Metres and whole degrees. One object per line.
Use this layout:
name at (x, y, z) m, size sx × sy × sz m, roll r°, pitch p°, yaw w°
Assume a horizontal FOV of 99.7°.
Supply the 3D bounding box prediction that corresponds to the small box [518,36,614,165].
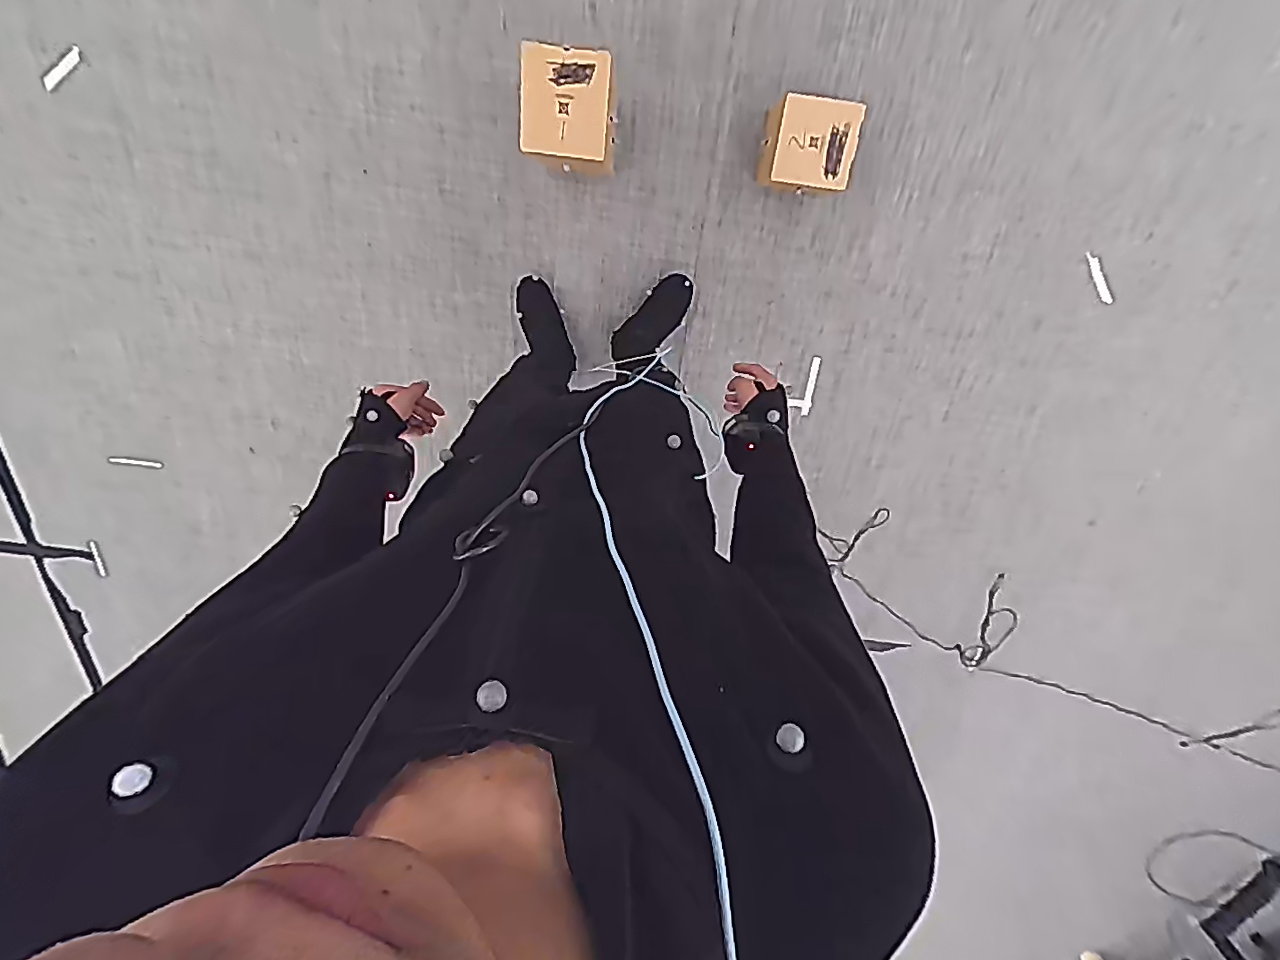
small box at (-0.143, -0.742, 1.077) m, size 0.168 × 0.176 × 0.179 m, roll 6°, pitch 117°, yaw -2°

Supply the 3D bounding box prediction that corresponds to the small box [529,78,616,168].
small box at (-0.148, -0.813, 1.225) m, size 0.179 × 0.176 × 0.168 m, roll 6°, pitch 116°, yaw -2°
